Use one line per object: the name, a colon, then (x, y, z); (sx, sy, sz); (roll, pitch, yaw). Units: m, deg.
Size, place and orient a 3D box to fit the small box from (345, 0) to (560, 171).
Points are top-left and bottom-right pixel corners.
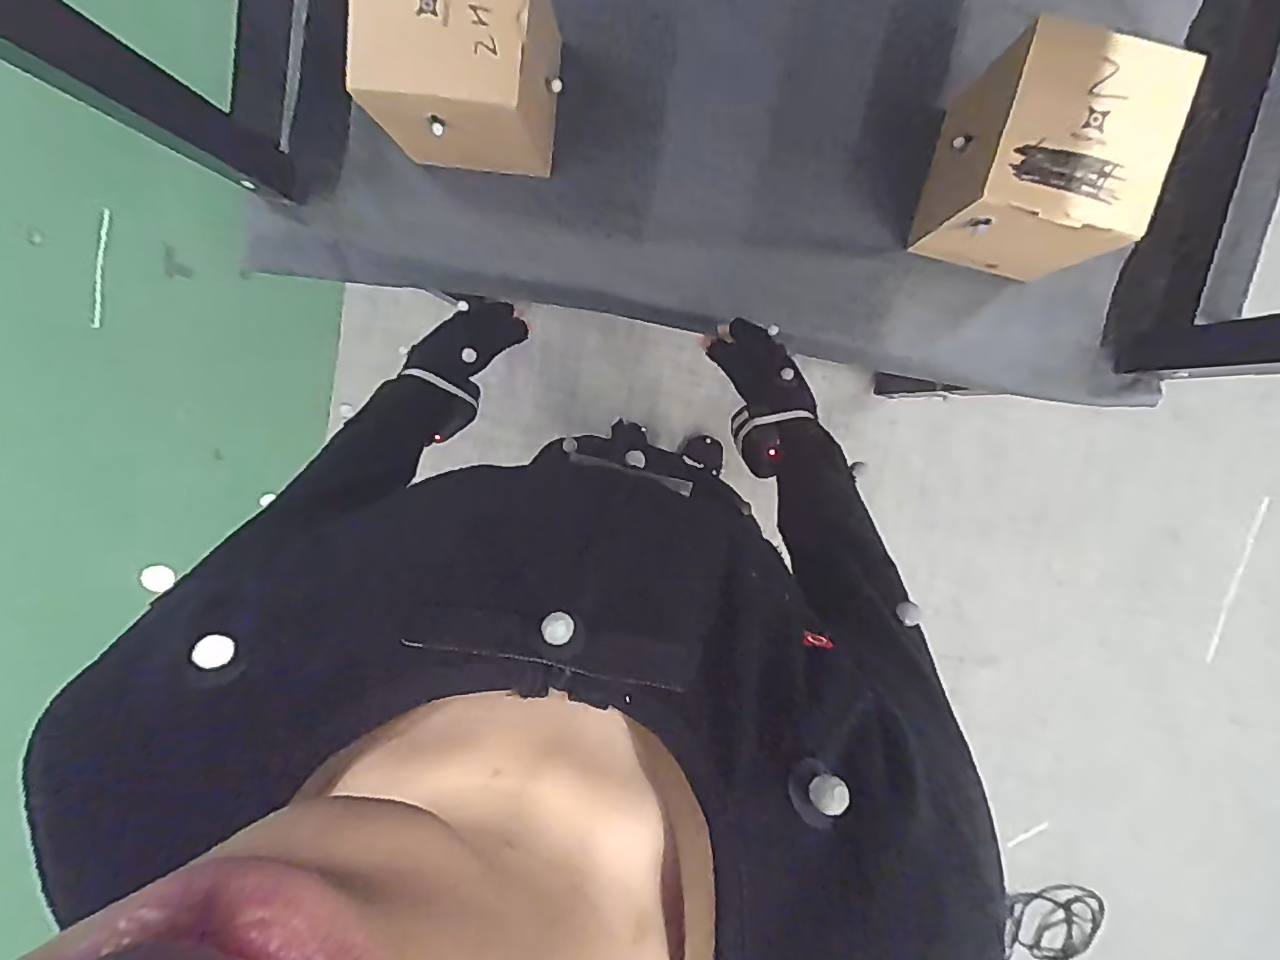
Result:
small box: (-0.196, -0.472, 0.605); (0.179, 0.176, 0.168); (7, 98, 0)
